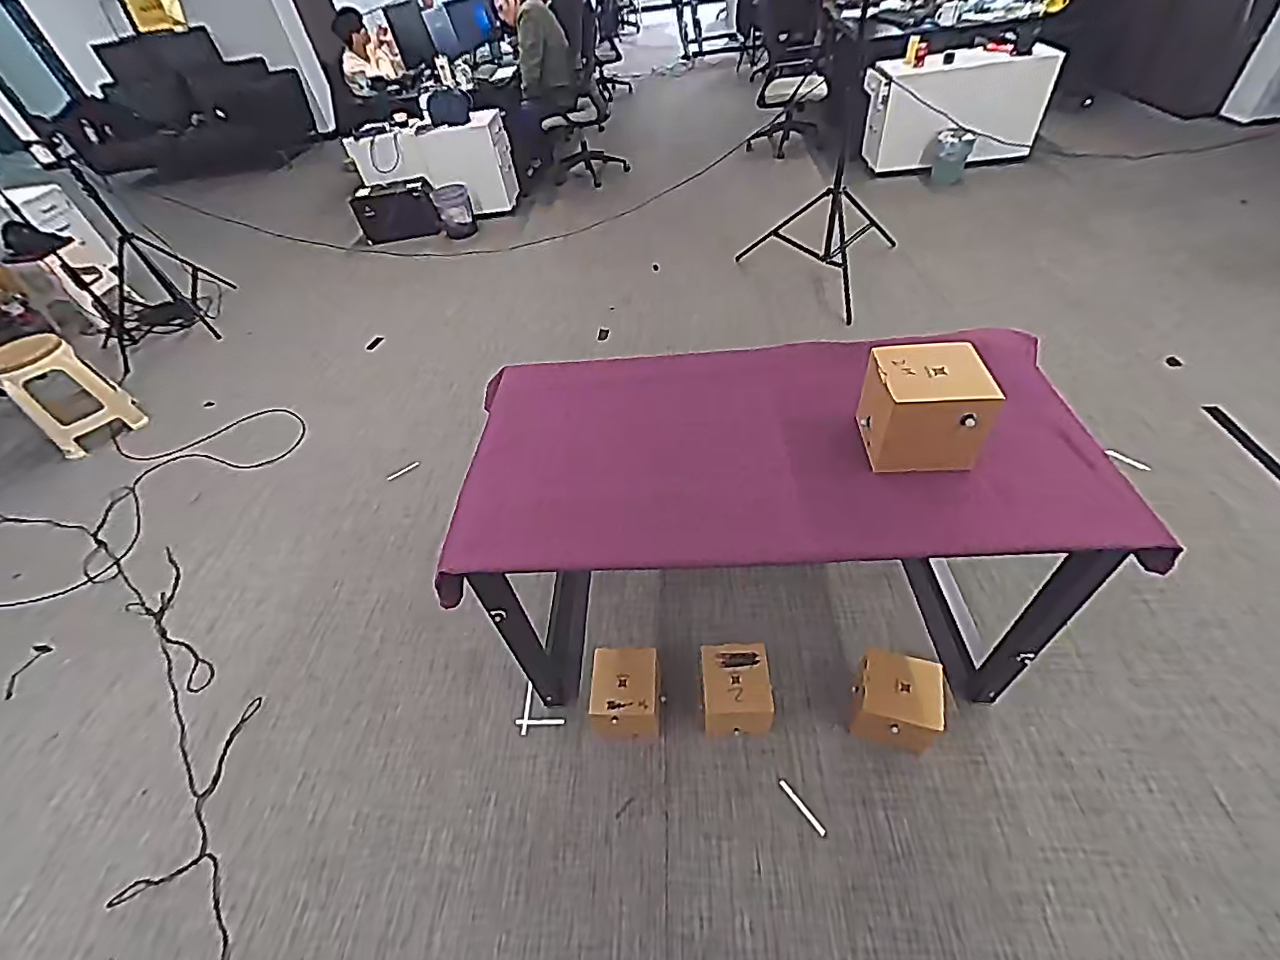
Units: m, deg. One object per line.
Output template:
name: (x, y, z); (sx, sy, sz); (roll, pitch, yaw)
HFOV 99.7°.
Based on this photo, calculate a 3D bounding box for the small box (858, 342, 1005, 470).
small box: (0.518, -0.133, 0.992); (0.179, 0.176, 0.168); (-2, 46, 8)

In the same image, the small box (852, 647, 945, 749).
small box: (0.638, 0.546, 1.345); (0.179, 0.176, 0.168); (9, 50, 18)

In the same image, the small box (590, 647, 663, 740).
small box: (-0.030, 0.563, 1.430); (0.168, 0.176, 0.179); (-2, 46, 7)
